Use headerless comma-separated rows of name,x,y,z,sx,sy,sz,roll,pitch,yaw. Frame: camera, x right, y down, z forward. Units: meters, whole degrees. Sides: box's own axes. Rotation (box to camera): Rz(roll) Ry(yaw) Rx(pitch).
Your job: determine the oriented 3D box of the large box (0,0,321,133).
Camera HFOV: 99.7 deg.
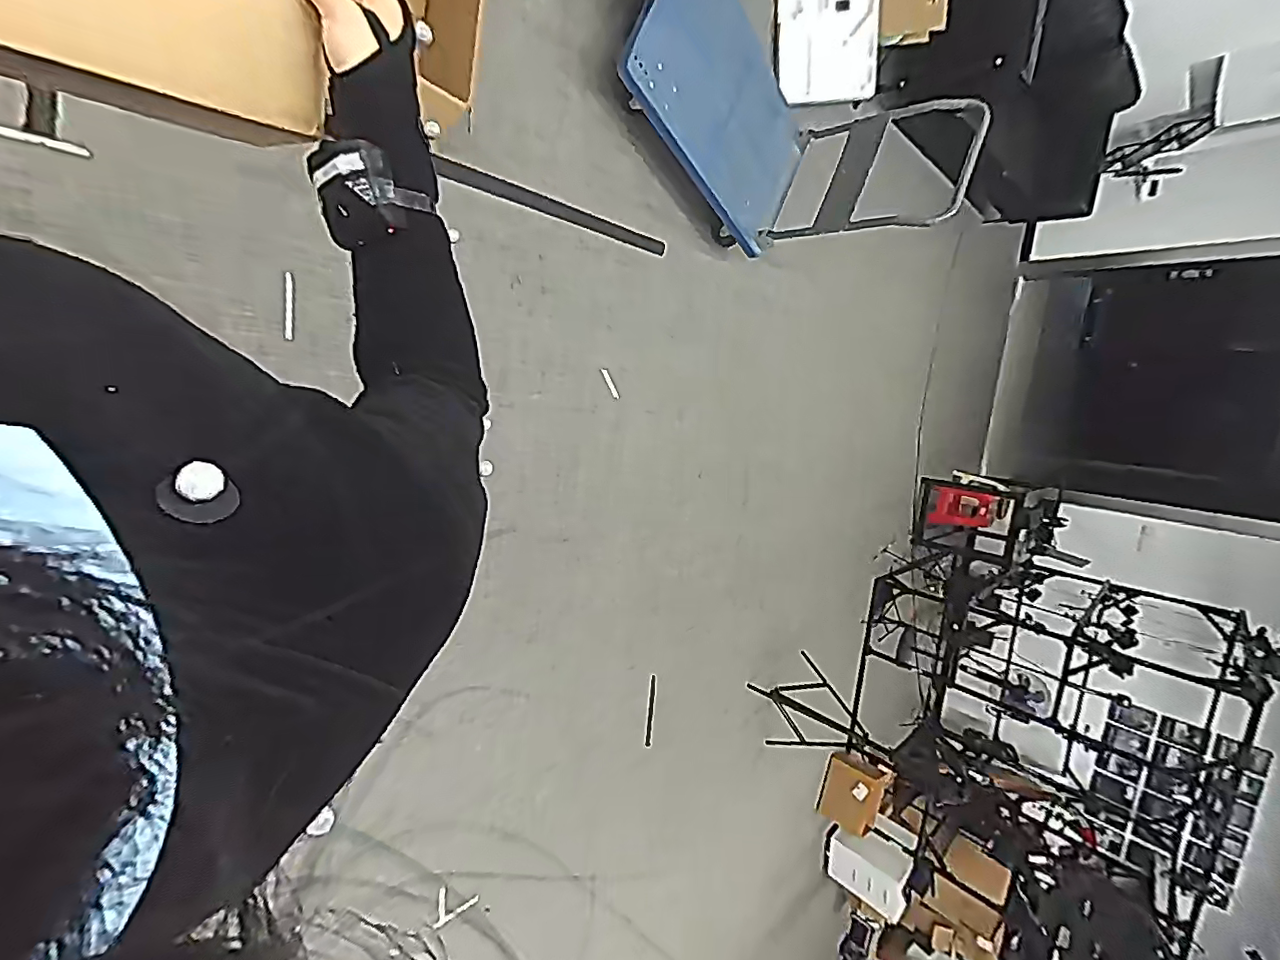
large box,-0.471,-0.466,0.359,0.408,0.320,0.320,-6,116,-41
